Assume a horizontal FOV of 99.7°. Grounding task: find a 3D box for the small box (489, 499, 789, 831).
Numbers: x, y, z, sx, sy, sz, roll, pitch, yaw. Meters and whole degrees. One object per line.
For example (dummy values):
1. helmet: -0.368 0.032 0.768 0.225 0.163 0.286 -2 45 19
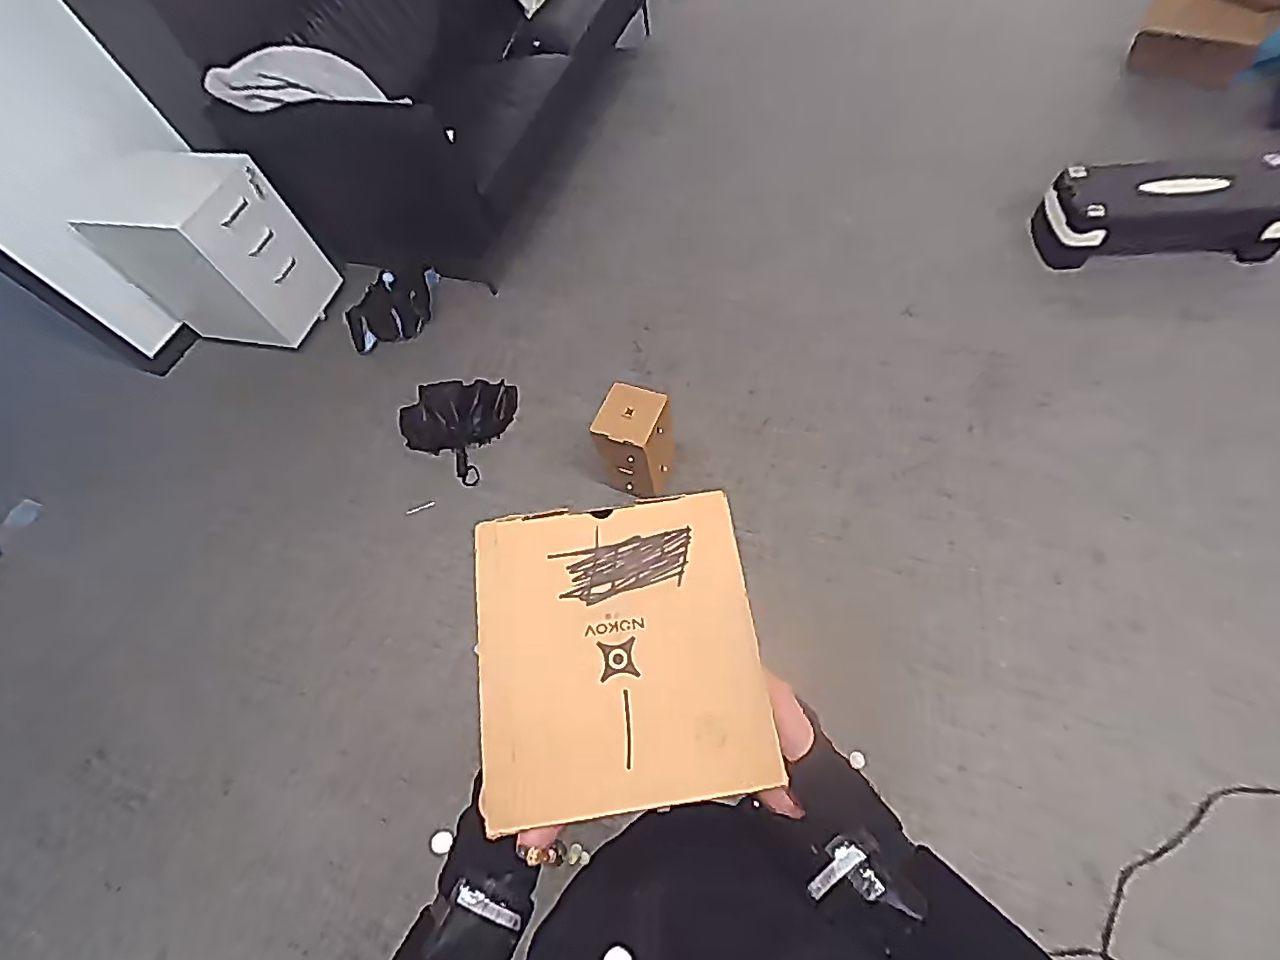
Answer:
1. small box: -0.009 0.131 0.399 0.168 0.176 0.179 -7 69 -3
